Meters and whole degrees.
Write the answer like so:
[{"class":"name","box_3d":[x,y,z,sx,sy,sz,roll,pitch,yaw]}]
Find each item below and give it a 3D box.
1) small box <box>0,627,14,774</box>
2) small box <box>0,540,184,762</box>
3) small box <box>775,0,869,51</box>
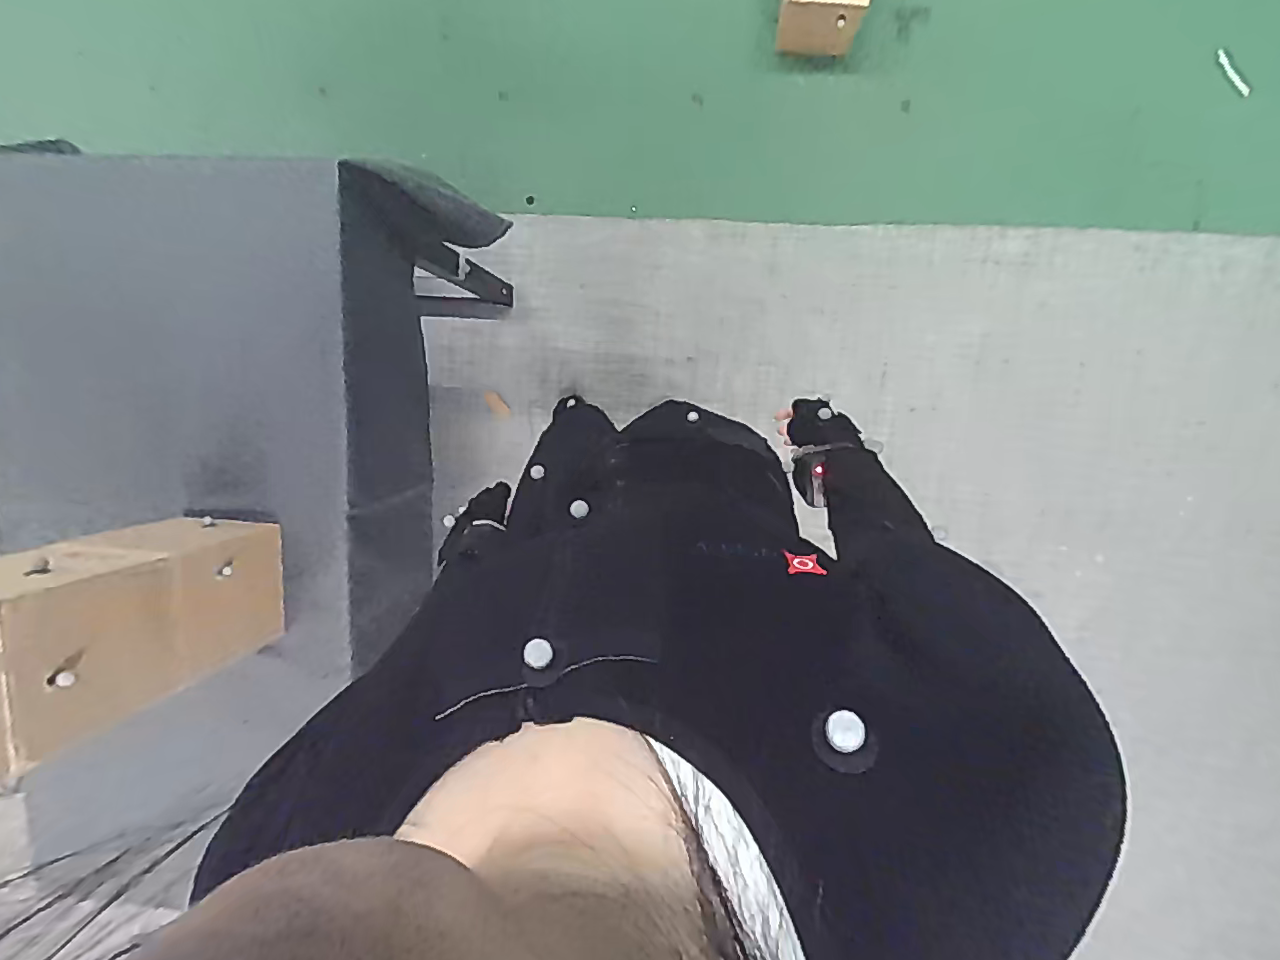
[{"class":"small box","box_3d":[-0.675,0.195,0.433,0.168,0.176,0.179,5,98,6]},{"class":"small box","box_3d":[-0.651,0.170,0.593,0.168,0.176,0.179,3,98,6]},{"class":"small box","box_3d":[0.409,-1.093,1.199,0.179,0.176,0.168,8,98,6]}]
